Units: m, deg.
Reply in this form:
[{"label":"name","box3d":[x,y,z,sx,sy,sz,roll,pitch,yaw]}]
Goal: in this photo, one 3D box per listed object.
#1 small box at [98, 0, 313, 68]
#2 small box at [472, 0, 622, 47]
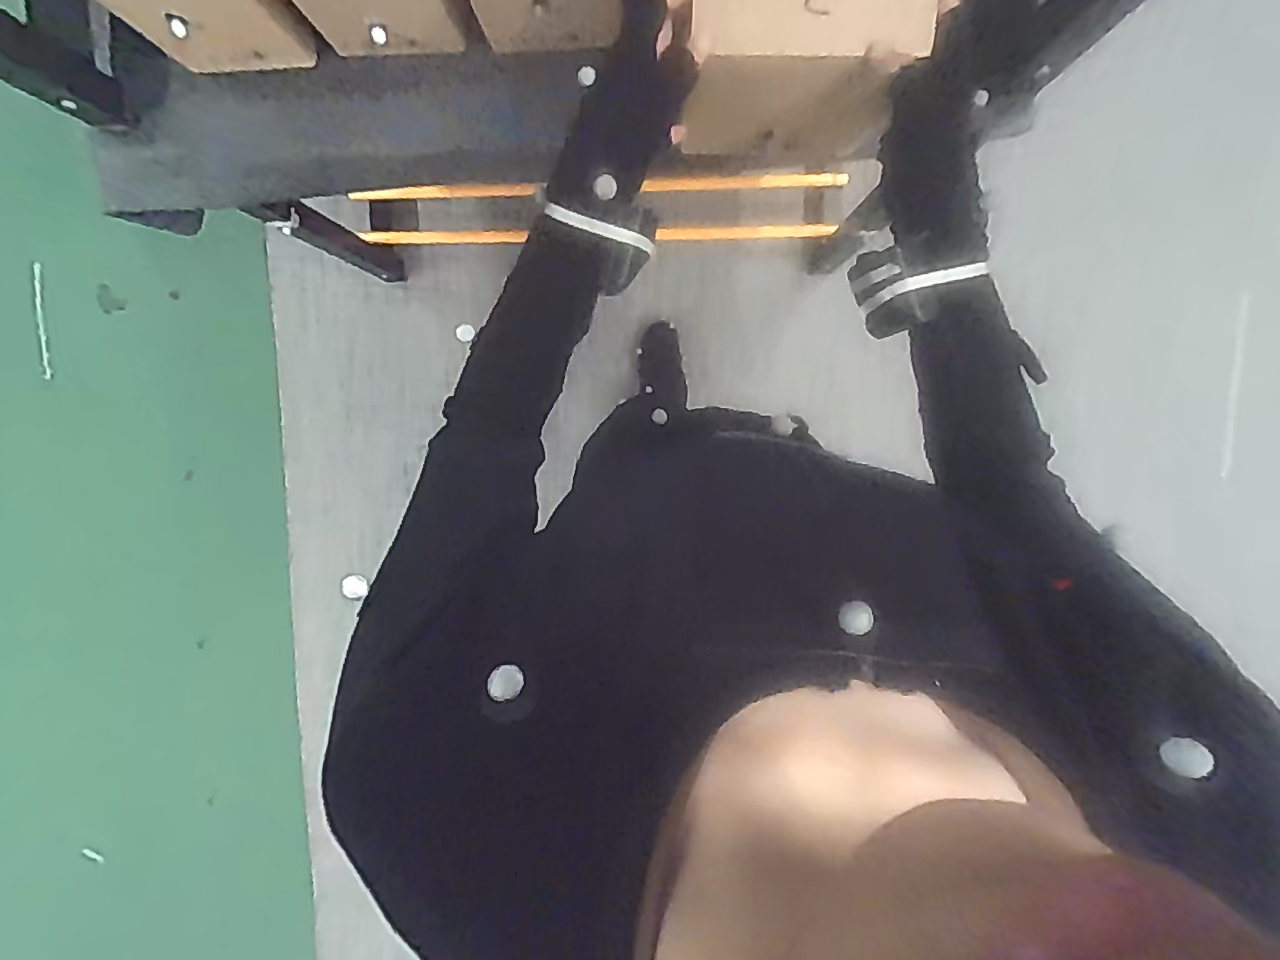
[{"label":"small box","box3d":[-0.497,-0.599,0.606,0.168,0.176,0.179,-1,95,2]},{"label":"small box","box3d":[-0.108,-0.612,0.588,0.168,0.176,0.179,-1,96,2]}]
